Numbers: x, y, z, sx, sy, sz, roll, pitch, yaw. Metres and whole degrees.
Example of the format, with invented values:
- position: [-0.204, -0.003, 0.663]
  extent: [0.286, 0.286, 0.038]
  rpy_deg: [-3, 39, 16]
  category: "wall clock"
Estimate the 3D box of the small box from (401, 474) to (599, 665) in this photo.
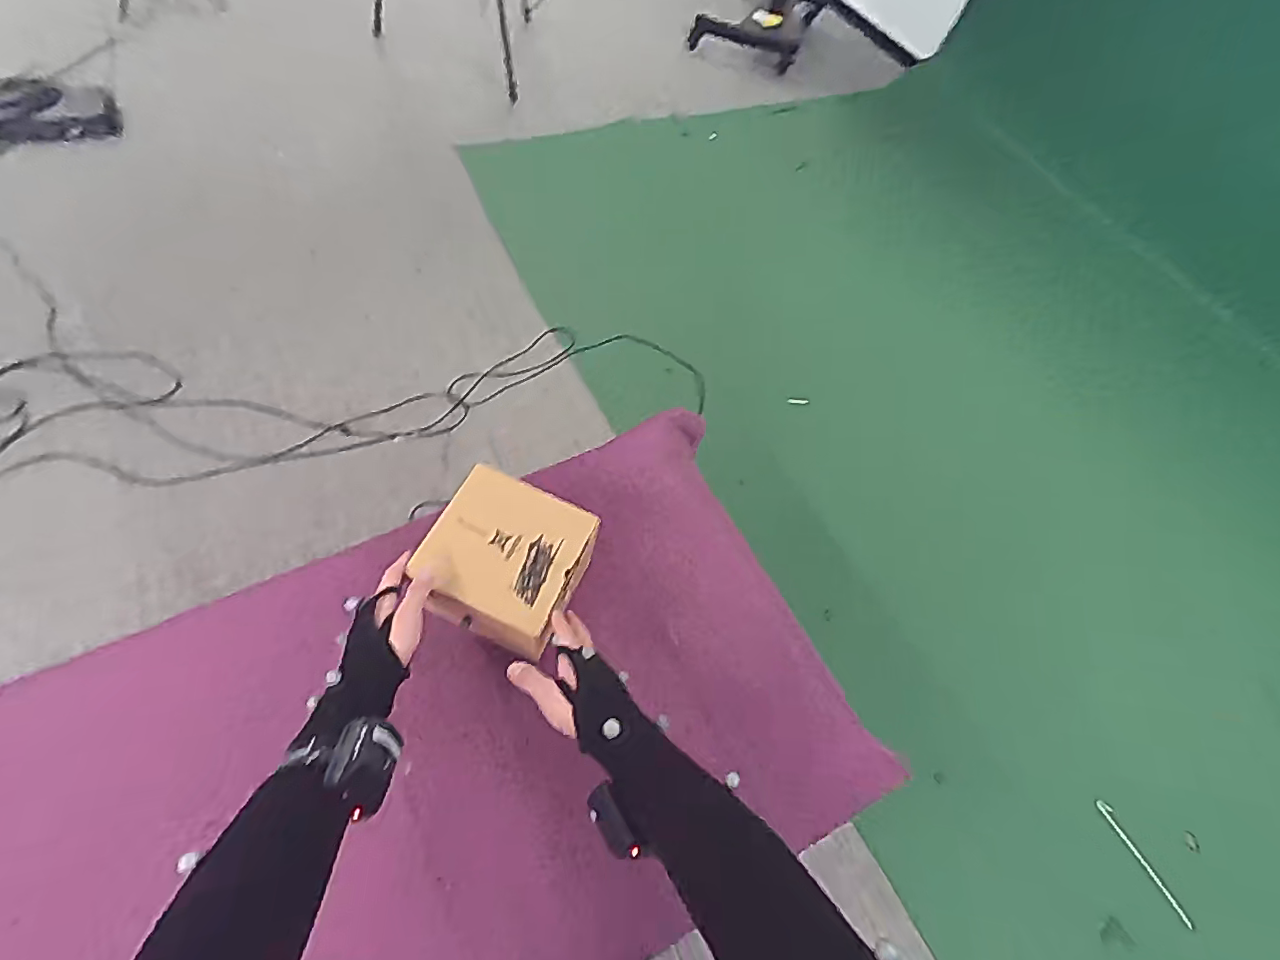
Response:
- position: [-0.172, 0.126, 0.708]
  extent: [0.179, 0.176, 0.168]
  rpy_deg: [25, 60, 4]
  category: "small box"
